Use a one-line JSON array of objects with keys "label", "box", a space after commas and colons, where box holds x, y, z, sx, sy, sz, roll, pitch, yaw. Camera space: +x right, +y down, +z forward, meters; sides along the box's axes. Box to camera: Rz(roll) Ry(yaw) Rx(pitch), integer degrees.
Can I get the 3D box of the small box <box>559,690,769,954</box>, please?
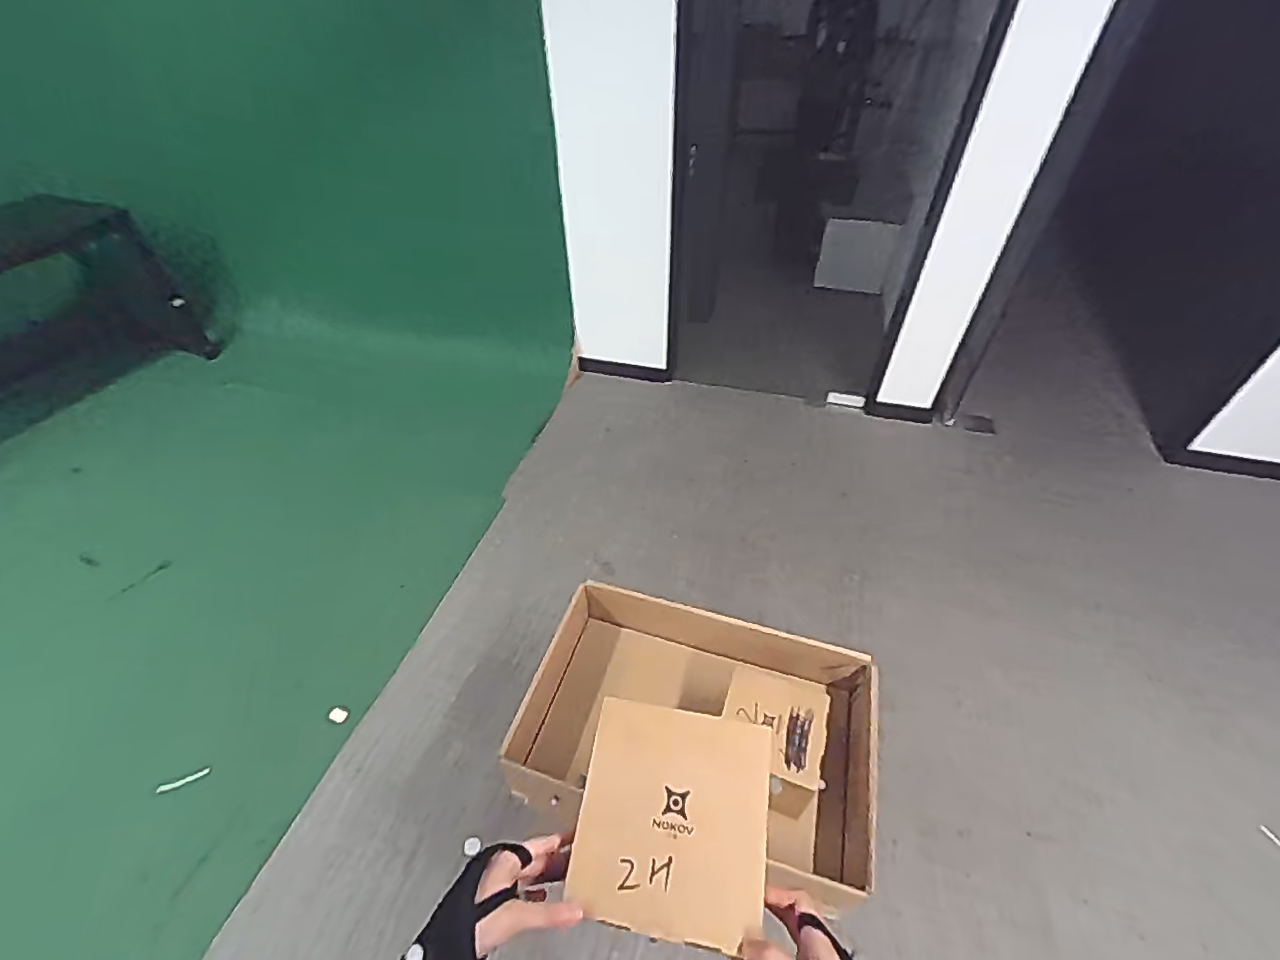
[{"label": "small box", "box": [0.030, 0.333, 0.544, 0.168, 0.176, 0.179, 7, 57, 8]}]
